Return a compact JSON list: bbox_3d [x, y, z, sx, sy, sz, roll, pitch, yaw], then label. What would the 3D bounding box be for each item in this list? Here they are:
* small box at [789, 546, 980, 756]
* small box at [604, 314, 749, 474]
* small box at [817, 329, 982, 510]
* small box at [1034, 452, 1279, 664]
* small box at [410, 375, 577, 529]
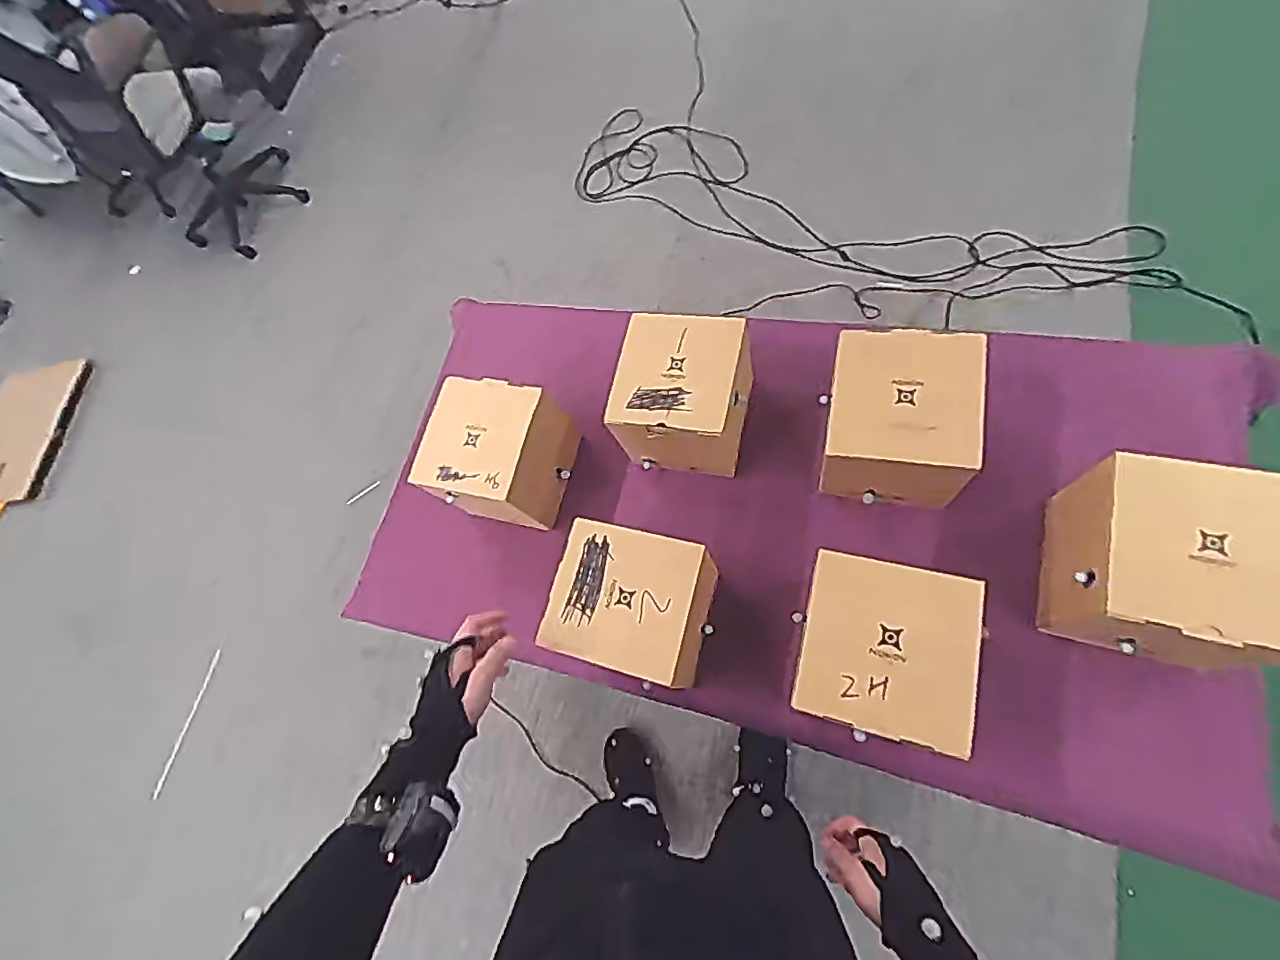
[{"bbox_3d":[0.272,0.196,0.632,0.168,0.176,0.179,11,73,19],"label":"small box"},{"bbox_3d":[0.066,-0.122,0.806,0.168,0.176,0.179,9,72,18],"label":"small box"},{"bbox_3d":[0.333,-0.076,0.719,0.168,0.176,0.179,8,73,18],"label":"small box"},{"bbox_3d":[0.565,0.091,0.595,0.168,0.176,0.179,12,75,19],"label":"small box"},{"bbox_3d":[-0.215,-0.040,0.849,0.168,0.176,0.179,10,73,19],"label":"small box"}]
